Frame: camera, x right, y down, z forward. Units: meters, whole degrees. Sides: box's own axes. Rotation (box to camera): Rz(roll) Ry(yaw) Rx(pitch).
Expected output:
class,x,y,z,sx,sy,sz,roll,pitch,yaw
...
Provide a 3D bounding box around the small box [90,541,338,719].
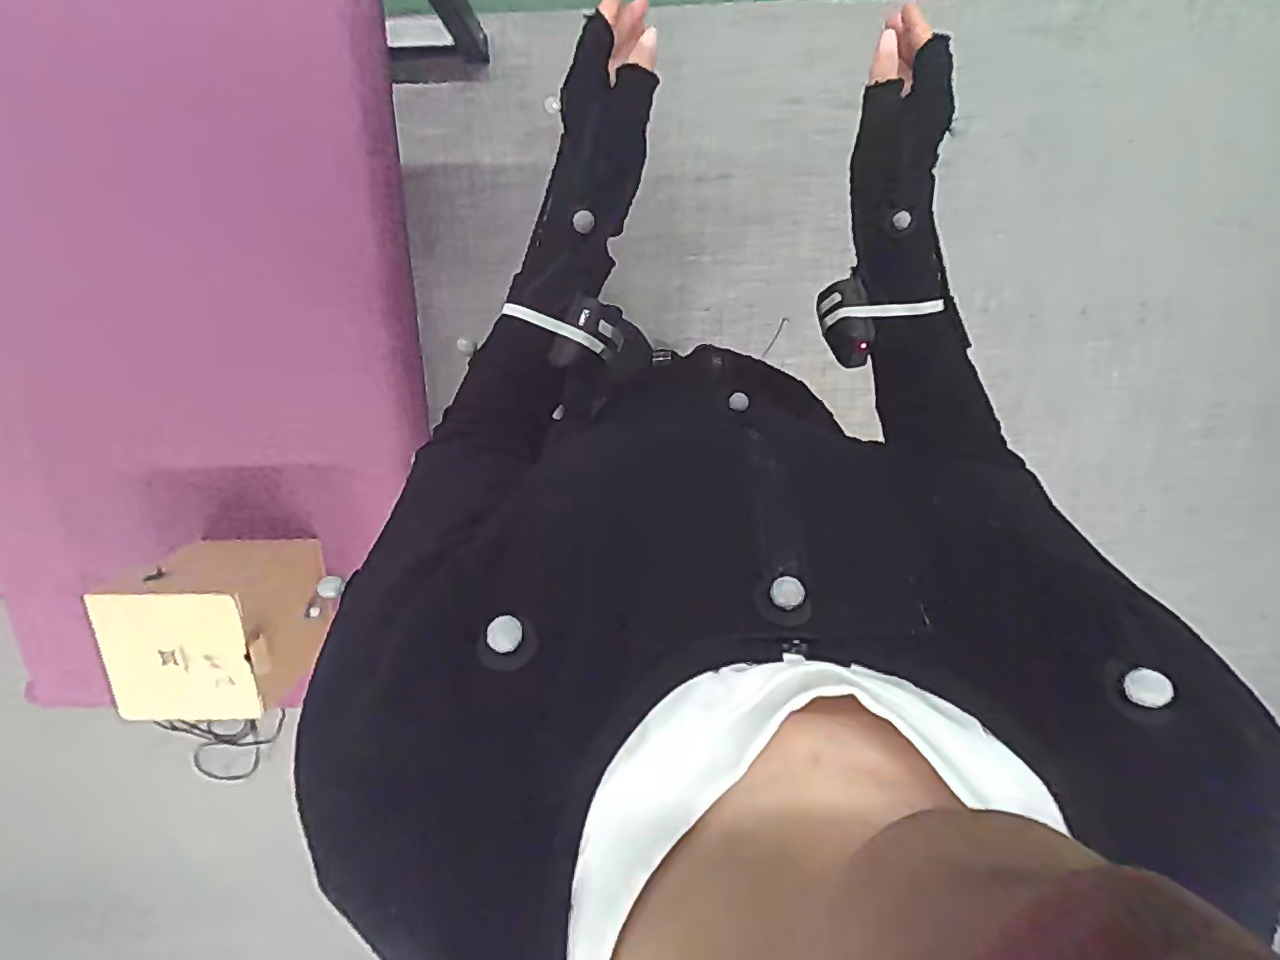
class,x,y,z,sx,sy,sz,roll,pitch,yaw
small box,-0.532,0.184,0.703,0.179,0.176,0.168,0,105,1
